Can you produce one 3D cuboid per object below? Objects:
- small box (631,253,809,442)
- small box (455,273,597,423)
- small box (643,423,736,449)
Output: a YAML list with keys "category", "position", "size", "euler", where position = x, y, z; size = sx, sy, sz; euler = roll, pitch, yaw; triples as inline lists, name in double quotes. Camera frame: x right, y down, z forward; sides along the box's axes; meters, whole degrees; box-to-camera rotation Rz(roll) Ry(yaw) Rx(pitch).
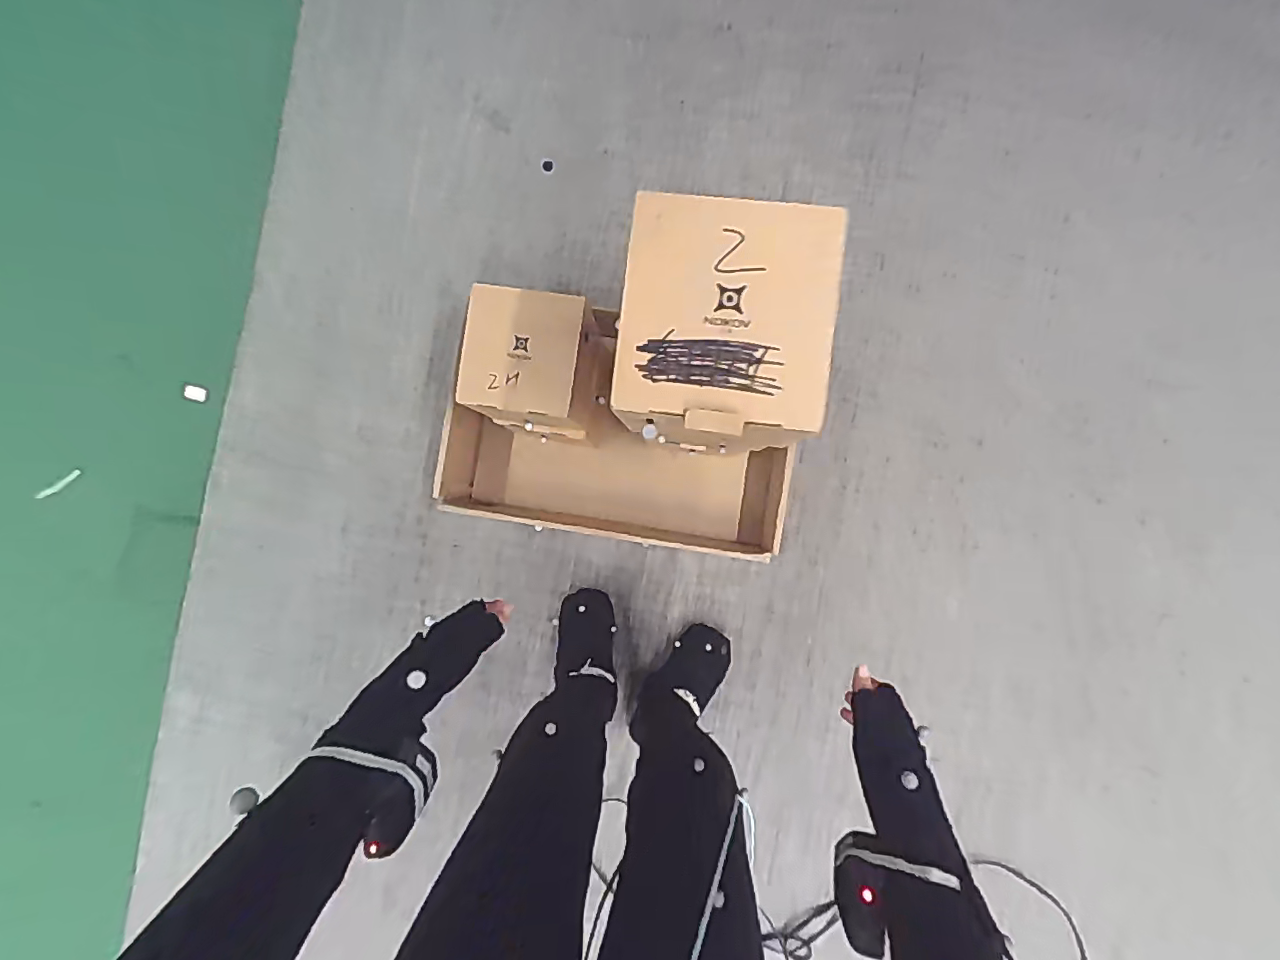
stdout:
- category: "small box"
  position: [0.090, -0.146, 0.658]
  size: [0.168, 0.176, 0.179]
  euler: [10, 90, 3]
- category: "small box"
  position: [-0.164, -0.193, 0.836]
  size: [0.168, 0.176, 0.179]
  euler: [9, 90, 3]
- category: "small box"
  position: [0.102, -0.153, 0.987]
  size: [0.168, 0.176, 0.179]
  euler: [5, 90, 5]
